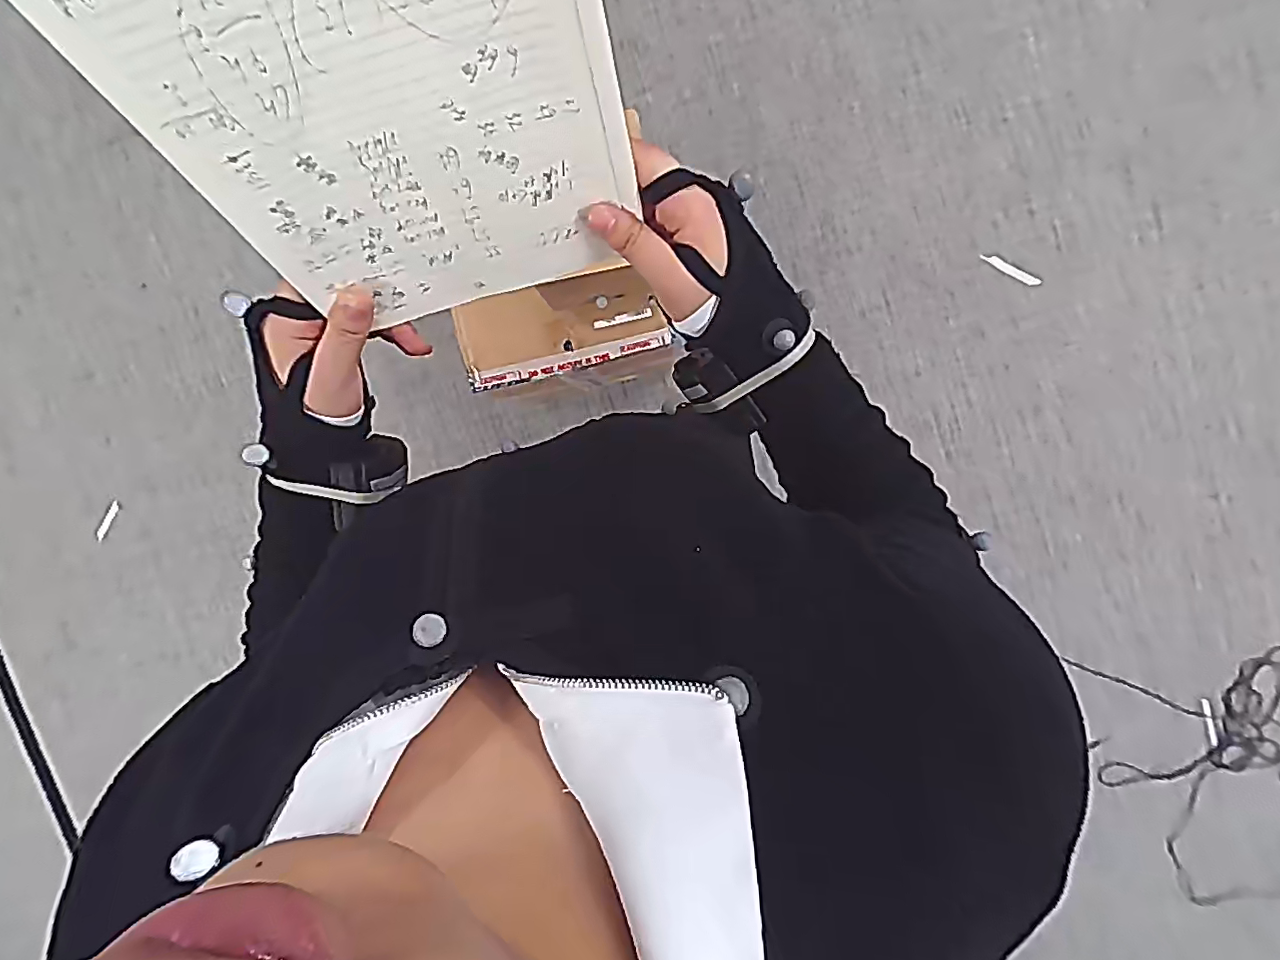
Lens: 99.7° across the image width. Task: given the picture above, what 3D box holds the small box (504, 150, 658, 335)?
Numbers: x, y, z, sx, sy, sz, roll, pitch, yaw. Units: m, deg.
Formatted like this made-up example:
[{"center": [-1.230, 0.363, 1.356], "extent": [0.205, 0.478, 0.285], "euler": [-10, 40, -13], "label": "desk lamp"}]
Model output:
[{"center": [-0.073, -0.310, 0.741], "extent": [0.168, 0.176, 0.179], "euler": [-10, 97, 1], "label": "small box"}]

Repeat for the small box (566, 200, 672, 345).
[{"center": [-0.053, -0.335, 0.904], "extent": [0.179, 0.176, 0.168], "euler": [-14, 96, 3], "label": "small box"}]
